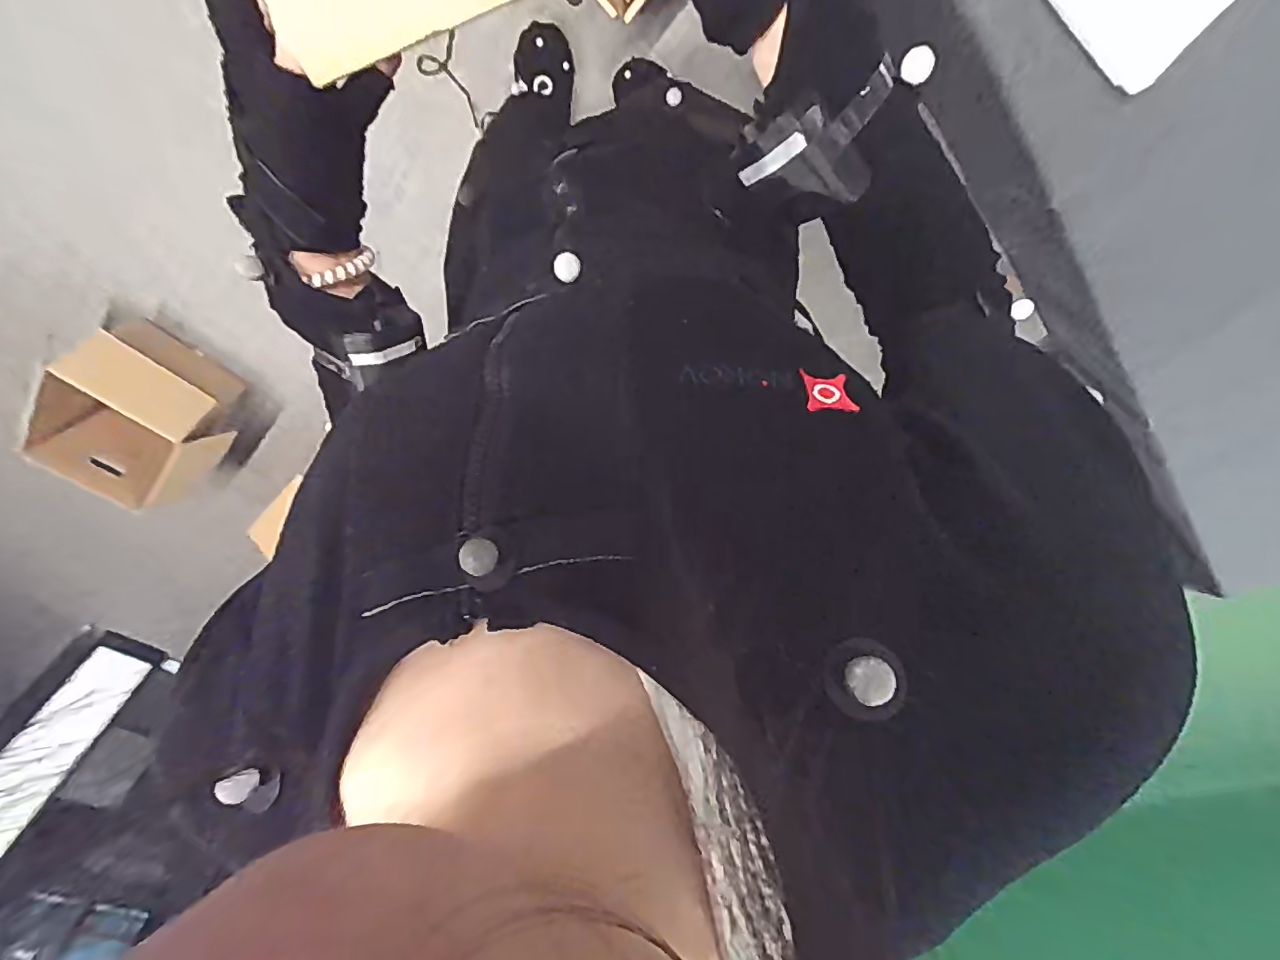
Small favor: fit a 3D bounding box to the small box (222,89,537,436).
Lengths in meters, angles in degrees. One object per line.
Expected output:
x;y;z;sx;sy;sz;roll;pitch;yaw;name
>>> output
-0.199;-0.135;0.404;0.168;0.176;0.179;1;101;-43;small box
